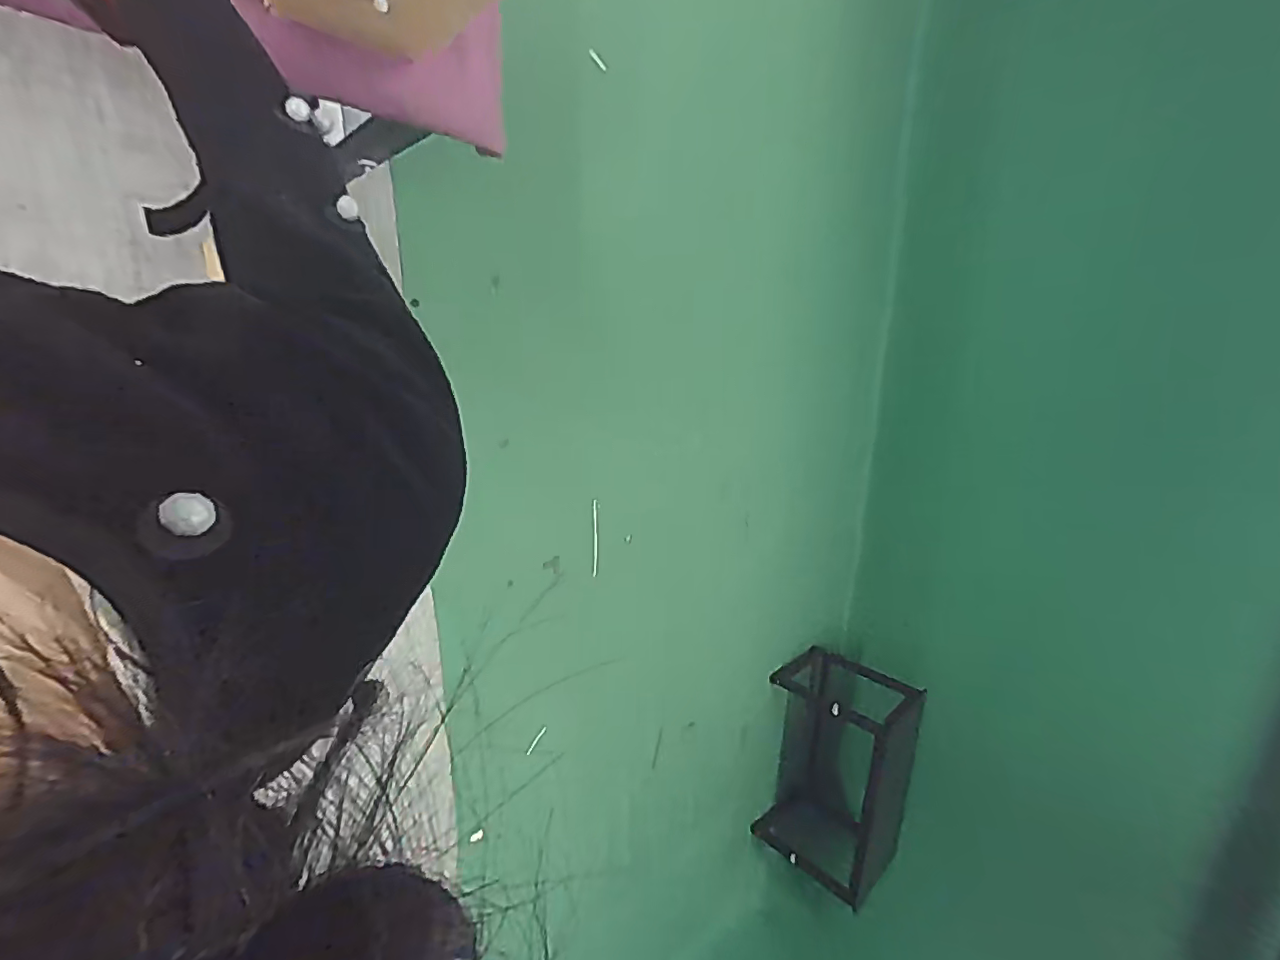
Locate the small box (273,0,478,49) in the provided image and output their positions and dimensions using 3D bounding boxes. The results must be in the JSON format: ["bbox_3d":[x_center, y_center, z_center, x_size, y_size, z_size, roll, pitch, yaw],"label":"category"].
[{"bbox_3d":[-0.297,-0.607,0.585,0.179,0.176,0.168,-14,112,-40],"label":"small box"}]
